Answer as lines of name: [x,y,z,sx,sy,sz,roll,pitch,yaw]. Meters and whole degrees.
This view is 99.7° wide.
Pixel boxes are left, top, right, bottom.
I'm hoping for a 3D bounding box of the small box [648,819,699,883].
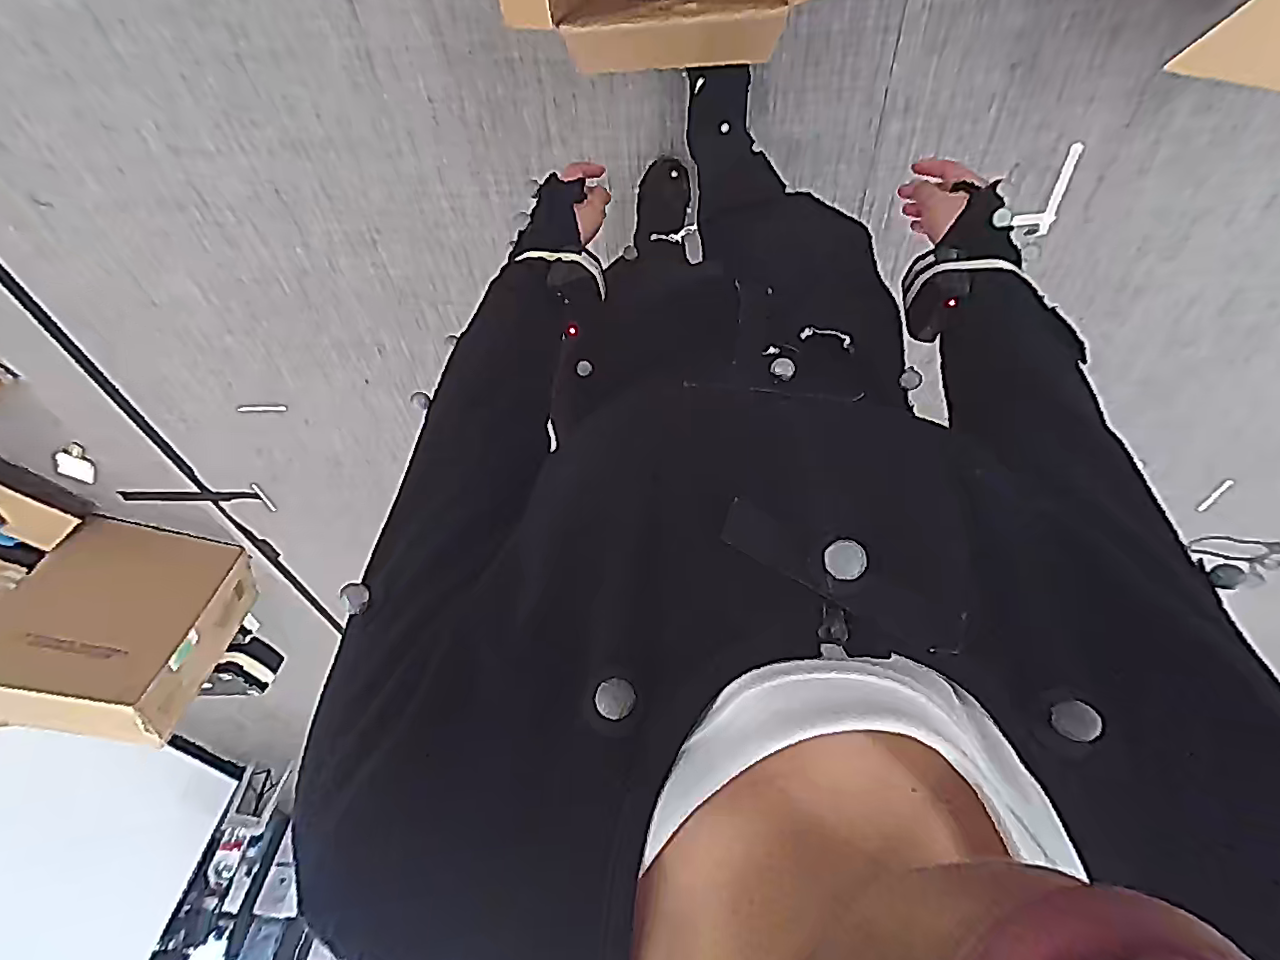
small box: [0.123,1.385,2.020,0.179,0.176,0.168,4,135,1]
